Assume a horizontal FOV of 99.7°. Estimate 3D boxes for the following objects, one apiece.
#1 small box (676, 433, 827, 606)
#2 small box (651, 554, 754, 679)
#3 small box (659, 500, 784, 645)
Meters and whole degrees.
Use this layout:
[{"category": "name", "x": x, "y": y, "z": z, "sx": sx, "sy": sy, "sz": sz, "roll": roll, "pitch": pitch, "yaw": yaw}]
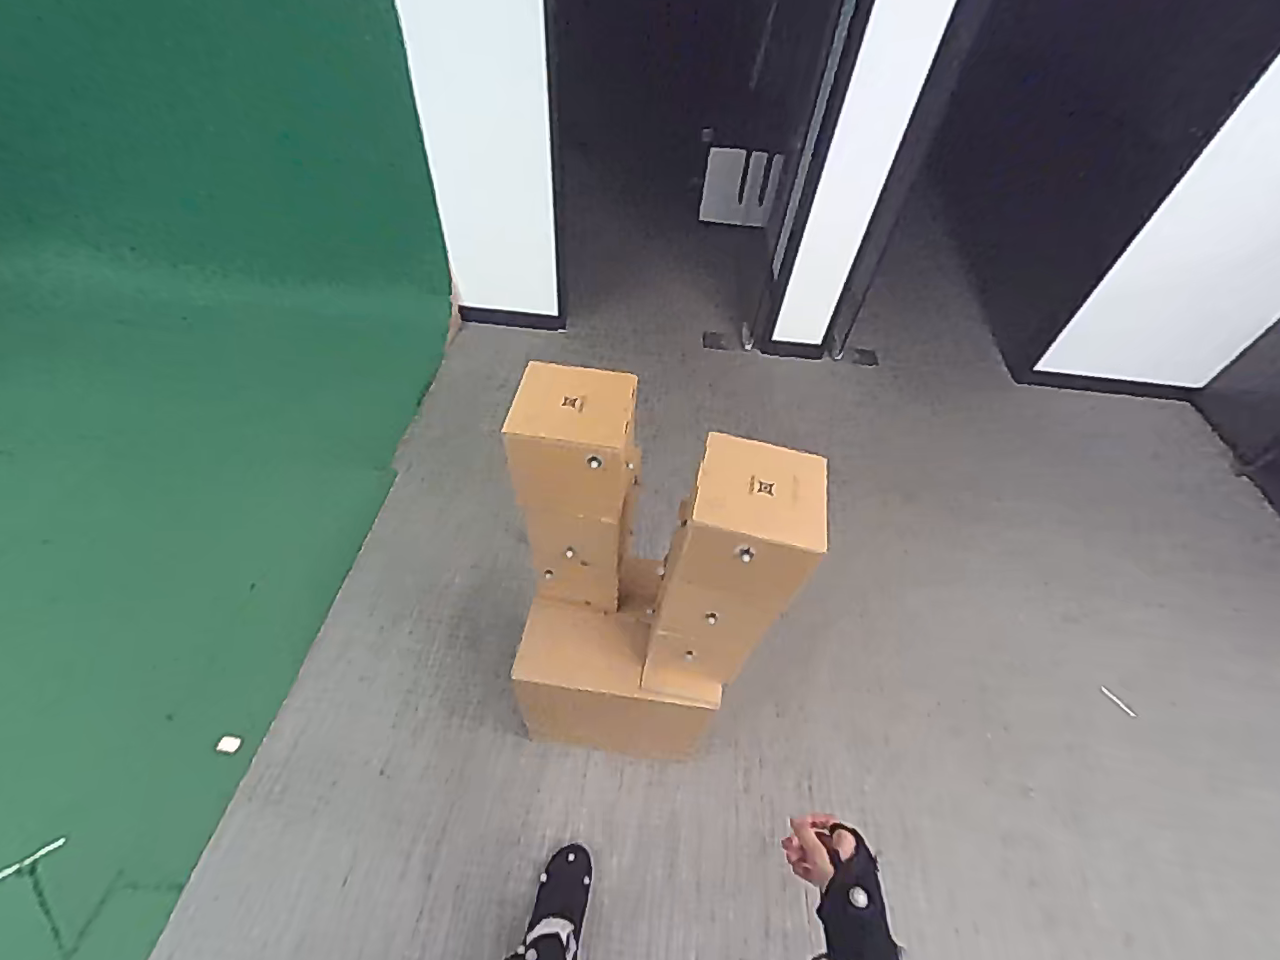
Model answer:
[{"category": "small box", "x": 0.157, "y": 0.062, "z": 0.786, "sx": 0.179, "sy": 0.176, "sz": 0.168, "roll": 14, "pitch": 51, "yaw": 4}, {"category": "small box", "x": 0.120, "y": 0.266, "z": 1.038, "sx": 0.179, "sy": 0.176, "sz": 0.168, "roll": 9, "pitch": 52, "yaw": 3}, {"category": "small box", "x": 0.136, "y": 0.161, "z": 0.913, "sx": 0.179, "sy": 0.176, "sz": 0.168, "roll": 10, "pitch": 50, "yaw": 3}]
